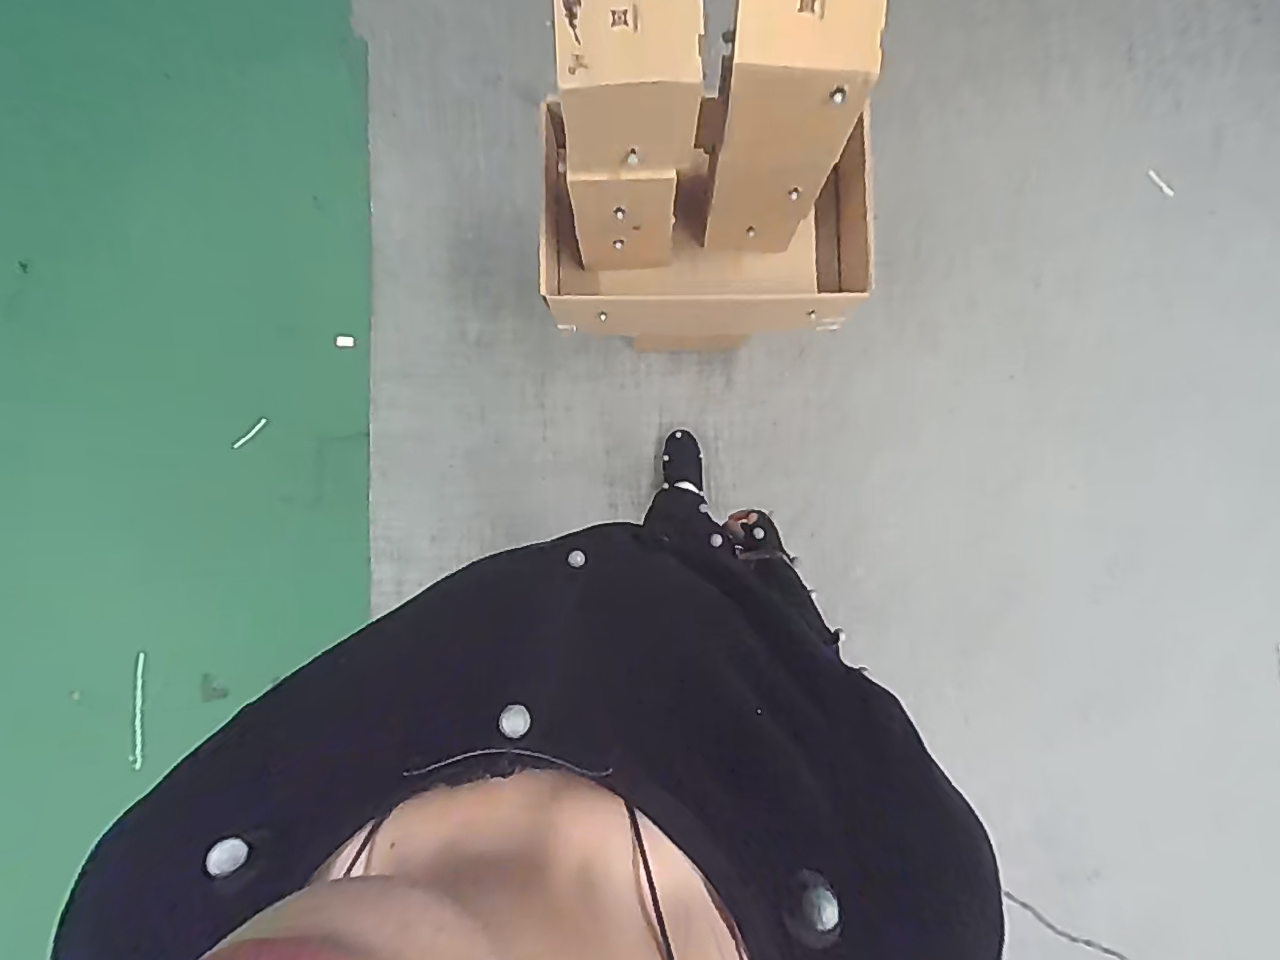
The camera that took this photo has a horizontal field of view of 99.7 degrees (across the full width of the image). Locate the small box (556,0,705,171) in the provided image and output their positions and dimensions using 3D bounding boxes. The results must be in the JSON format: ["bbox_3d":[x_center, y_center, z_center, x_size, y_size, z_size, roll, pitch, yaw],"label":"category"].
[{"bbox_3d":[-0.013,-0.539,0.719,0.179,0.176,0.168,-2,88,0],"label":"small box"}]
